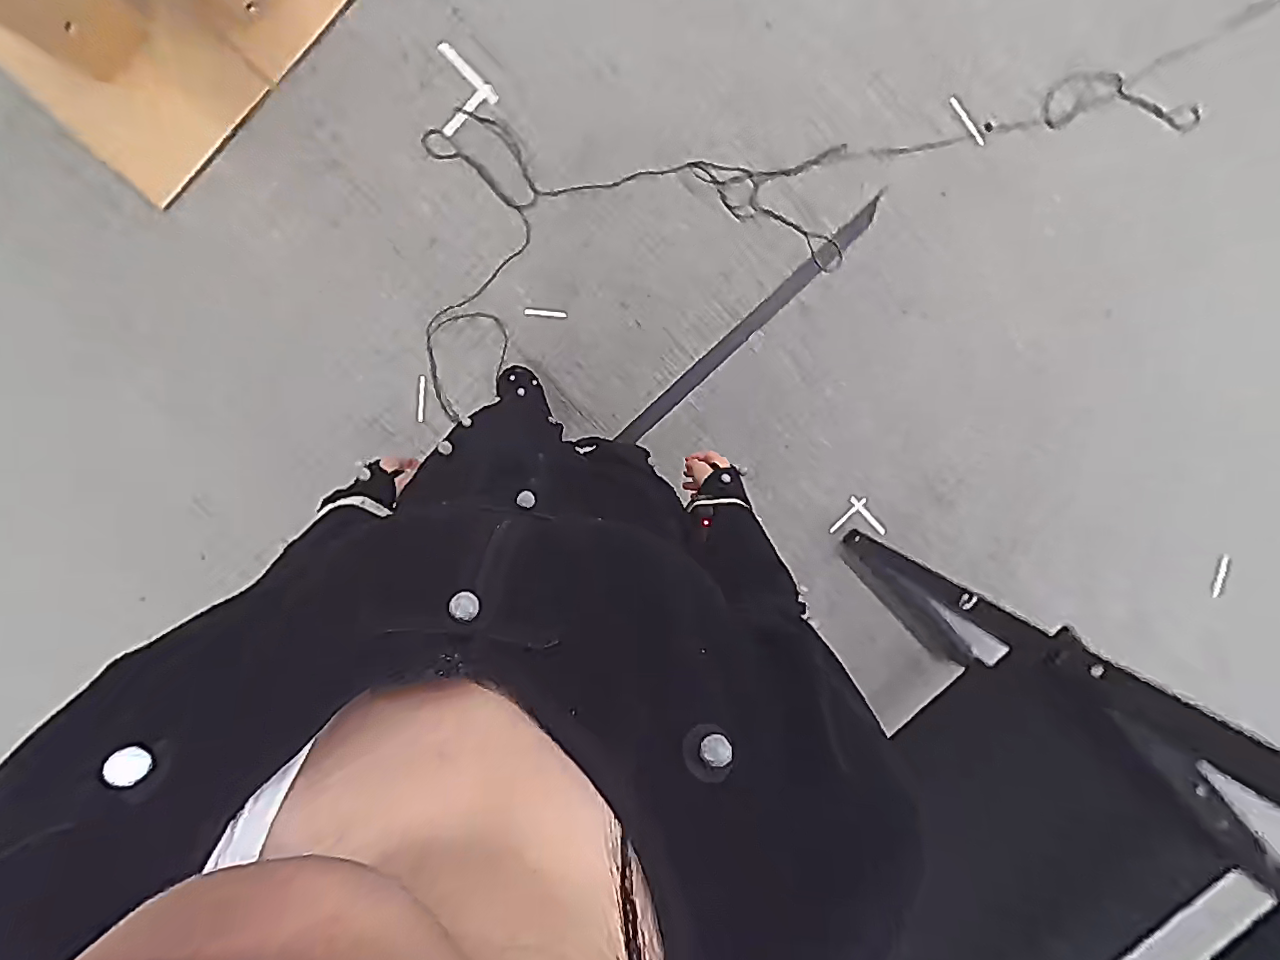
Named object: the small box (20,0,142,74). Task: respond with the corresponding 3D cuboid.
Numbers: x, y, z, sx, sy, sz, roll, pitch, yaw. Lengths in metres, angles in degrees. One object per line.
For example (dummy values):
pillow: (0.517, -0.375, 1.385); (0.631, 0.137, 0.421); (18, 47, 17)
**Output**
small box: (-1.212, -1.016, 1.129); (0.179, 0.176, 0.168); (-41, 101, 4)
